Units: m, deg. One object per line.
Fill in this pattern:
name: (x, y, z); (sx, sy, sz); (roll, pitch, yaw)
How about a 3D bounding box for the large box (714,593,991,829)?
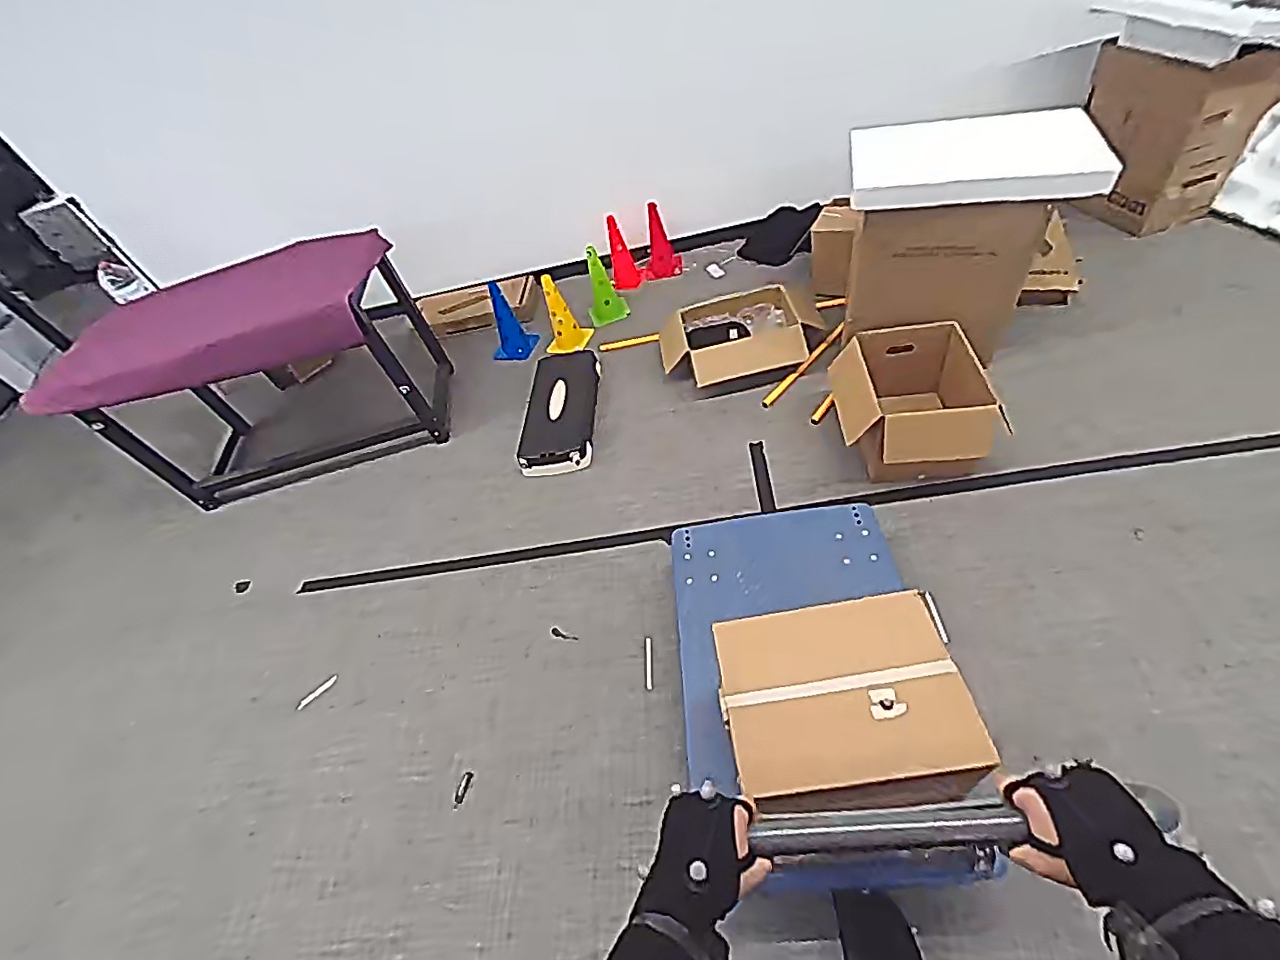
large box: (0.382, 0.469, 1.082); (0.408, 0.320, 0.320); (-11, 48, 5)
